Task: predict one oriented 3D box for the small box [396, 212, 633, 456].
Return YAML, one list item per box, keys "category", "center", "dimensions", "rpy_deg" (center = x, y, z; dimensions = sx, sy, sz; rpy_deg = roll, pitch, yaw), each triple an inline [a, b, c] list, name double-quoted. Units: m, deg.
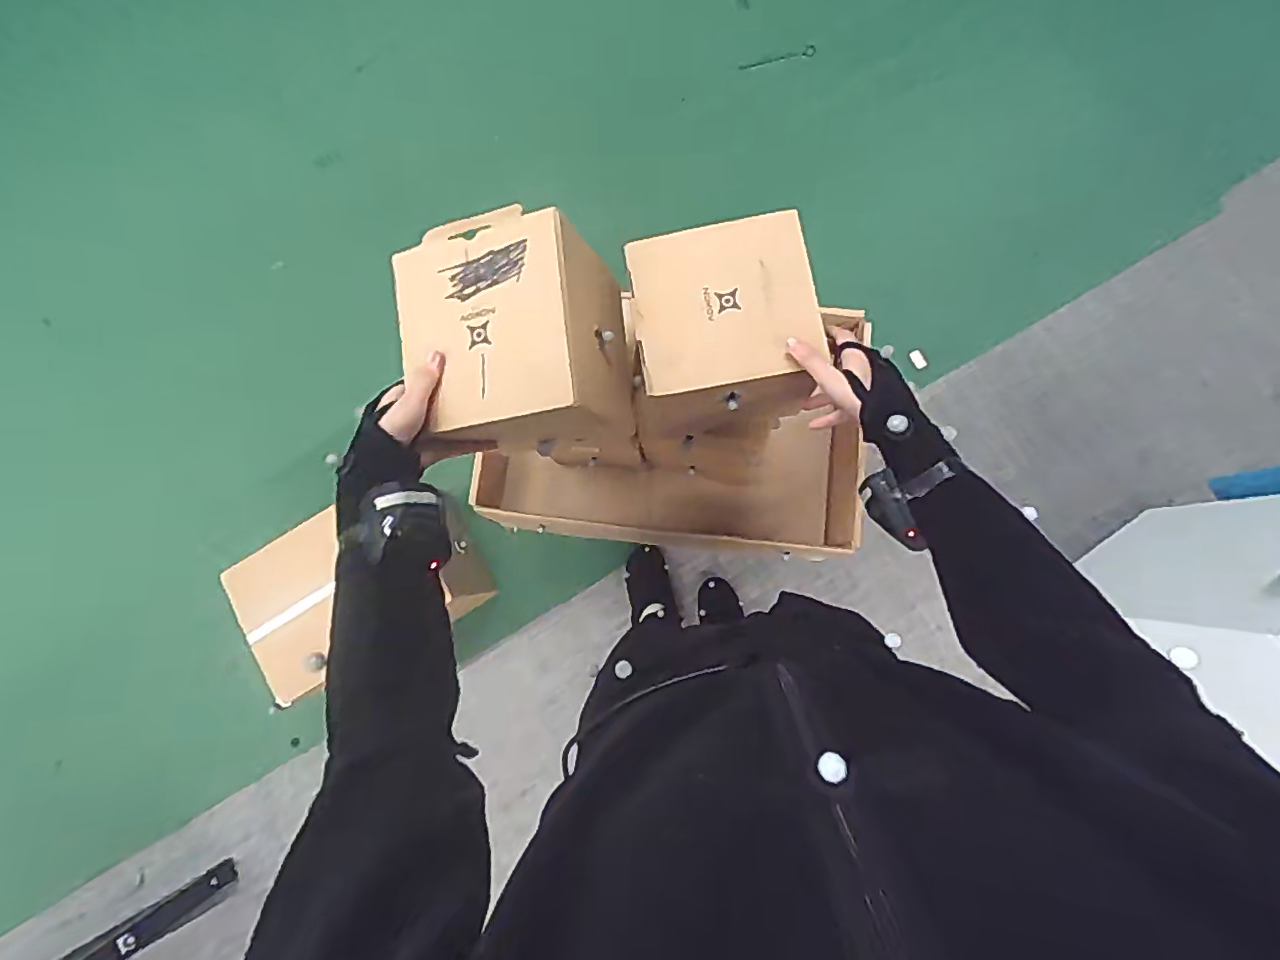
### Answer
- category: "small box"
  center: [-0.116, -0.128, 0.548]
  dimensions: [0.168, 0.176, 0.179]
  rpy_deg: [-9, 85, 18]
